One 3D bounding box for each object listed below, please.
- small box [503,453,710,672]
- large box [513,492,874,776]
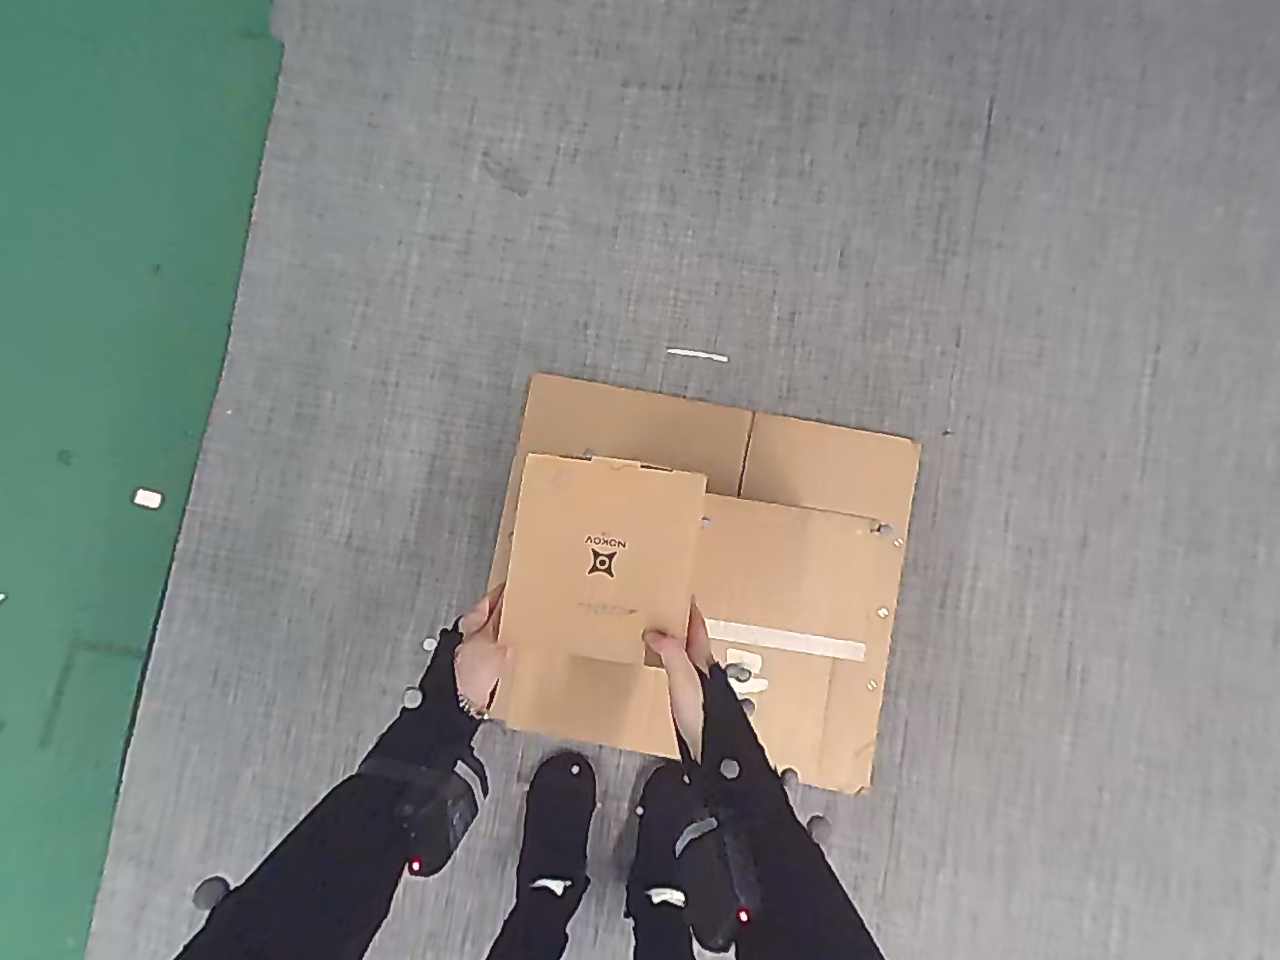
[{"bbox_3d":[-0.027,0.077,0.556,0.168,0.176,0.179,7,86,3],"label":"small box"},{"bbox_3d":[0.065,0.179,0.788,0.408,0.320,0.320,9,86,1],"label":"large box"}]
